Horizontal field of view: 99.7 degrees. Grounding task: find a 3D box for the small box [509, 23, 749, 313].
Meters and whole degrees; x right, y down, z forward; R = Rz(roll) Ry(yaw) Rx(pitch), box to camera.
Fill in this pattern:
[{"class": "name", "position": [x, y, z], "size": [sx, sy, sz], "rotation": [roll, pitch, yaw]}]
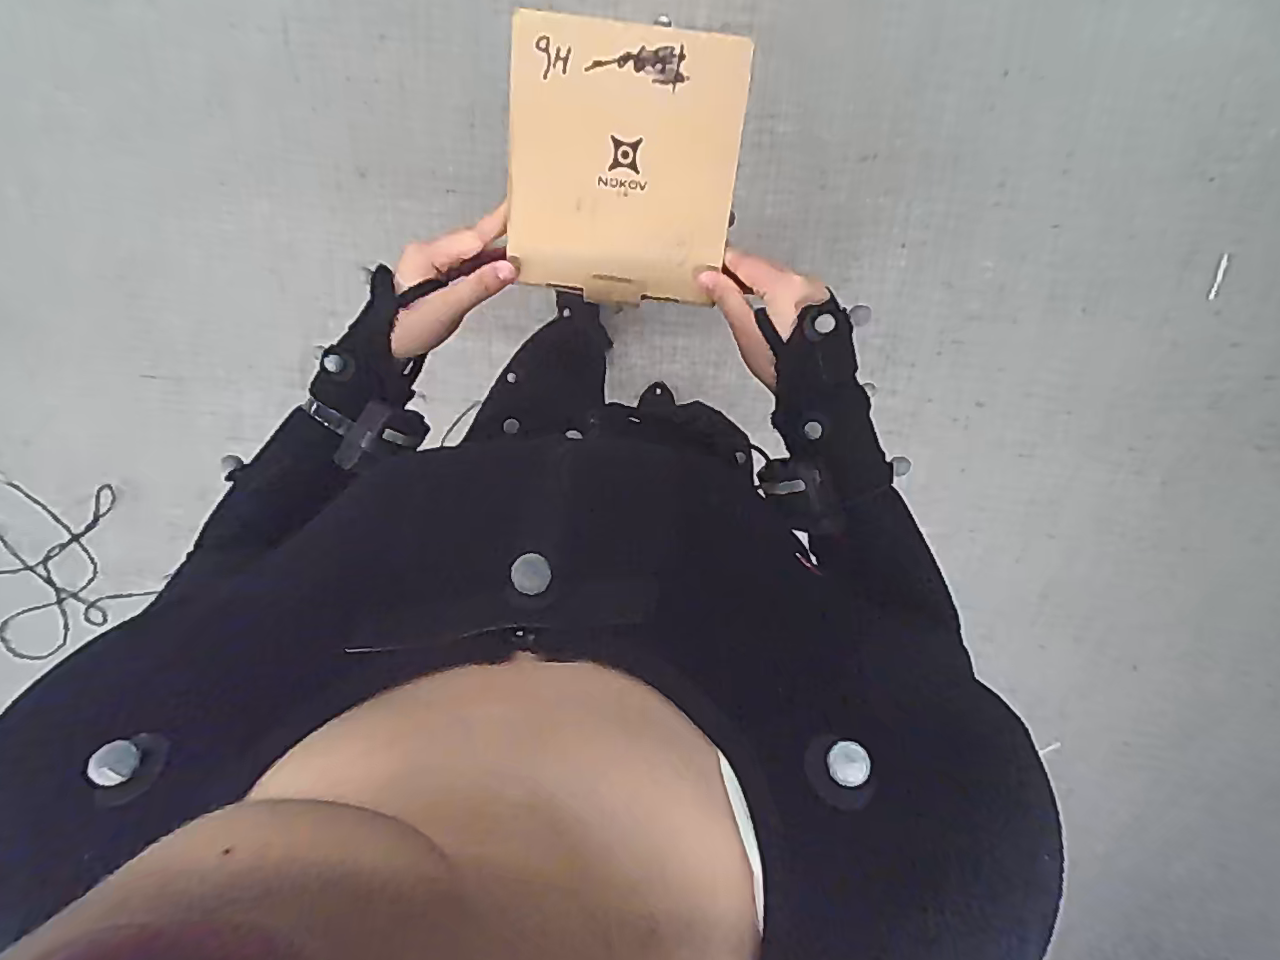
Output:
[{"class": "small box", "position": [-0.012, -0.251, 0.474], "size": [0.168, 0.176, 0.179], "rotation": [6, 110, -1]}]
